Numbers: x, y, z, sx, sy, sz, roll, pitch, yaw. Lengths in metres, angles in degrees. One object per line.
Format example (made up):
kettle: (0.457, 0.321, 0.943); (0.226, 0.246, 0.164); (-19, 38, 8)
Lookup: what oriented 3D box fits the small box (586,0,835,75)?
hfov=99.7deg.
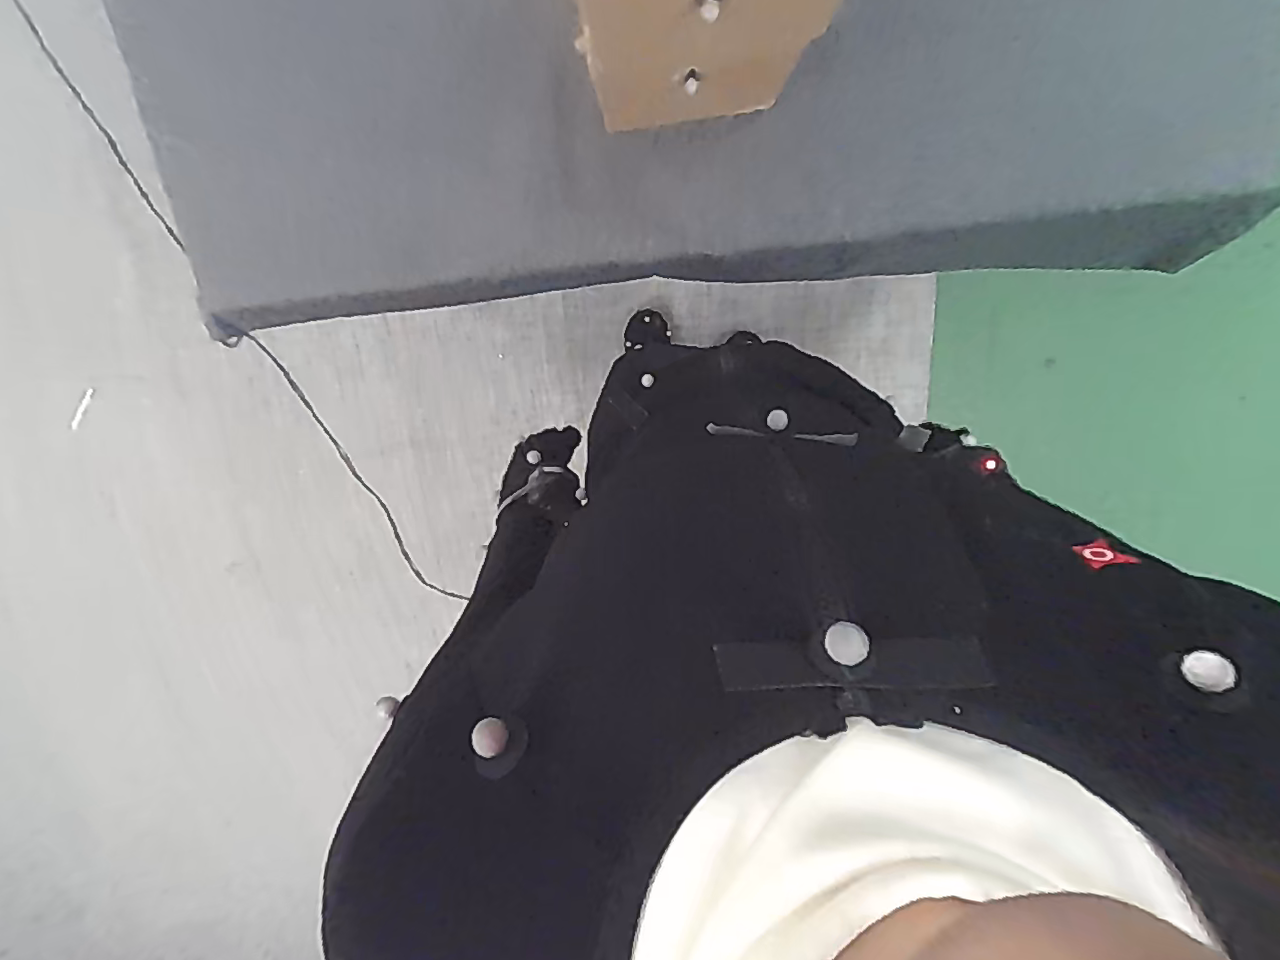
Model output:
small box: (0.042, -0.377, 0.317); (0.179, 0.176, 0.168); (-9, 108, 5)

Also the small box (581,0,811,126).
small box: (0.040, -0.433, 0.472); (0.179, 0.176, 0.168); (-6, 108, 3)
